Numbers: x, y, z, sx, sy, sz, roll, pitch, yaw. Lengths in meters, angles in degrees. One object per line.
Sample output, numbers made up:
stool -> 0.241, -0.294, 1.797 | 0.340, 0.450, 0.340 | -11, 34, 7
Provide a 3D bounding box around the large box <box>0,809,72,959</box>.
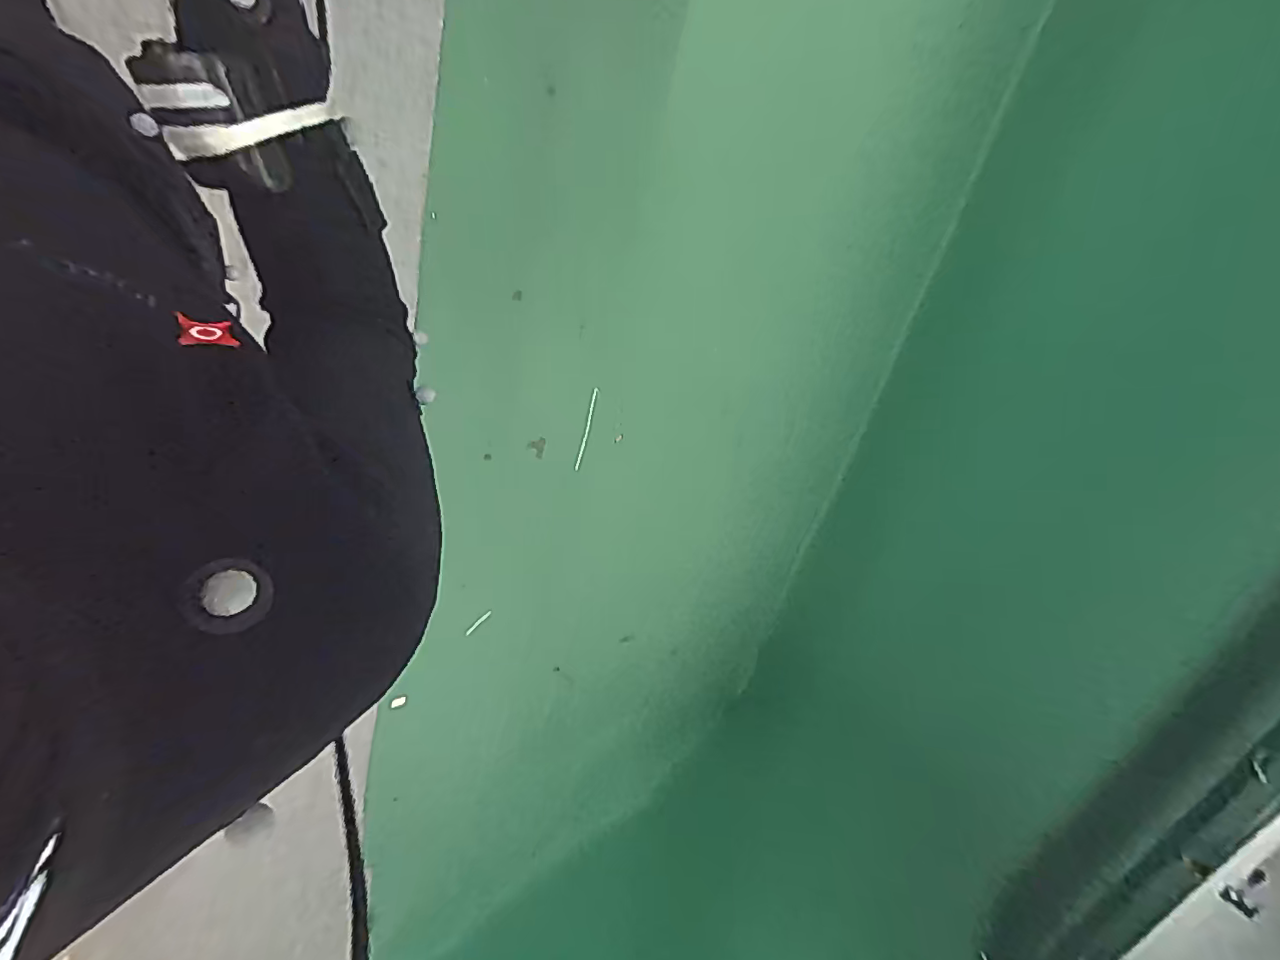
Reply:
large box -> -1.484, 0.989, 1.104 | 0.408, 0.320, 0.320 | -11, 124, -43
